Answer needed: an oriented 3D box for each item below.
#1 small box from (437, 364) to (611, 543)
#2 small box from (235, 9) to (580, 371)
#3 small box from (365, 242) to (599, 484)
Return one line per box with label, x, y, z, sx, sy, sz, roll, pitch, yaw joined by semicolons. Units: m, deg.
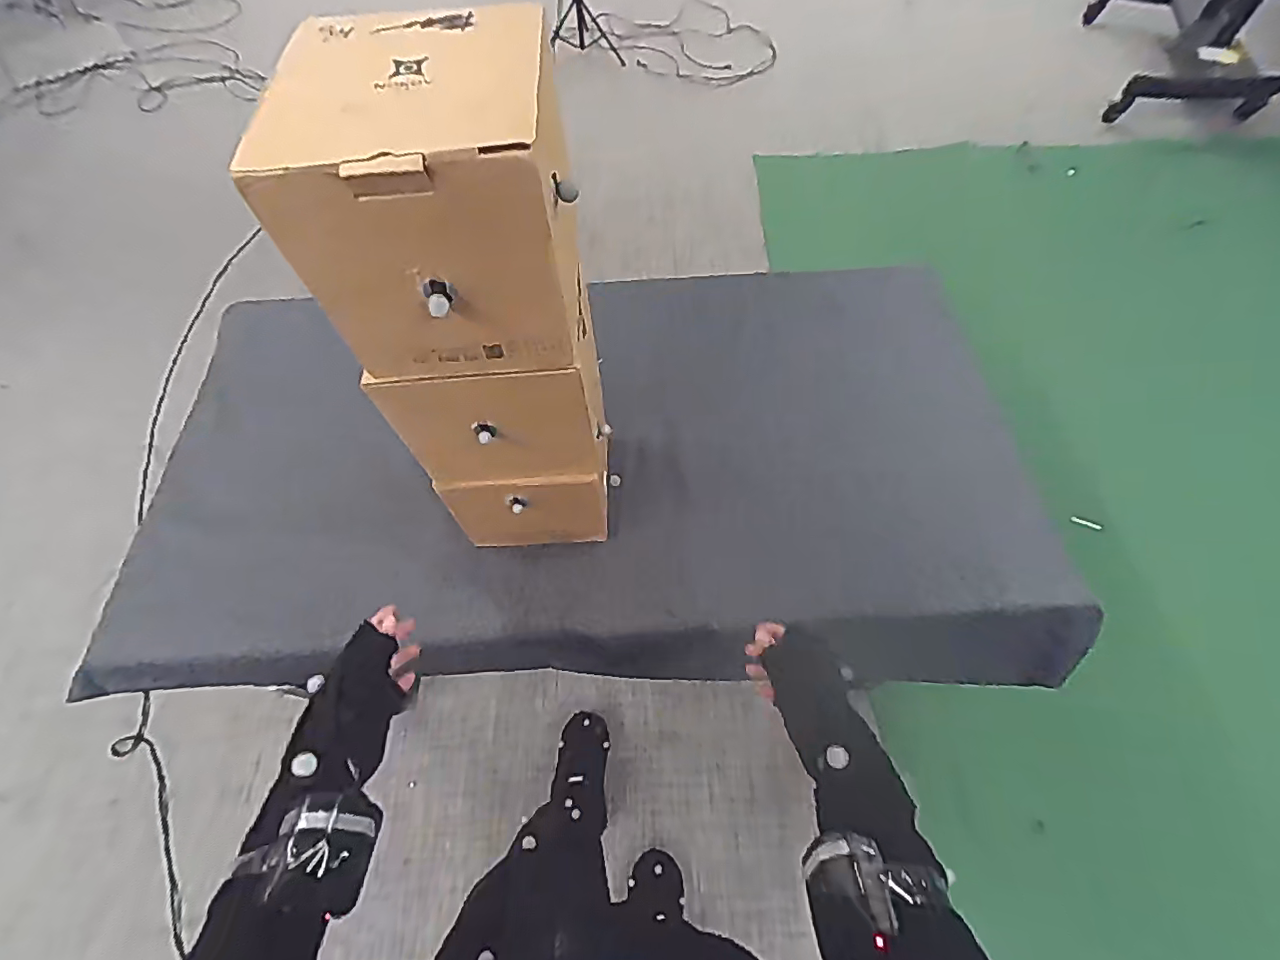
small box;-0.129;-0.027;0.675;0.179;0.176;0.168;-2;62;-1
small box;-0.136;-0.194;0.393;0.168;0.176;0.179;-4;63;0
small box;-0.133;-0.108;0.533;0.179;0.176;0.168;-5;62;0
